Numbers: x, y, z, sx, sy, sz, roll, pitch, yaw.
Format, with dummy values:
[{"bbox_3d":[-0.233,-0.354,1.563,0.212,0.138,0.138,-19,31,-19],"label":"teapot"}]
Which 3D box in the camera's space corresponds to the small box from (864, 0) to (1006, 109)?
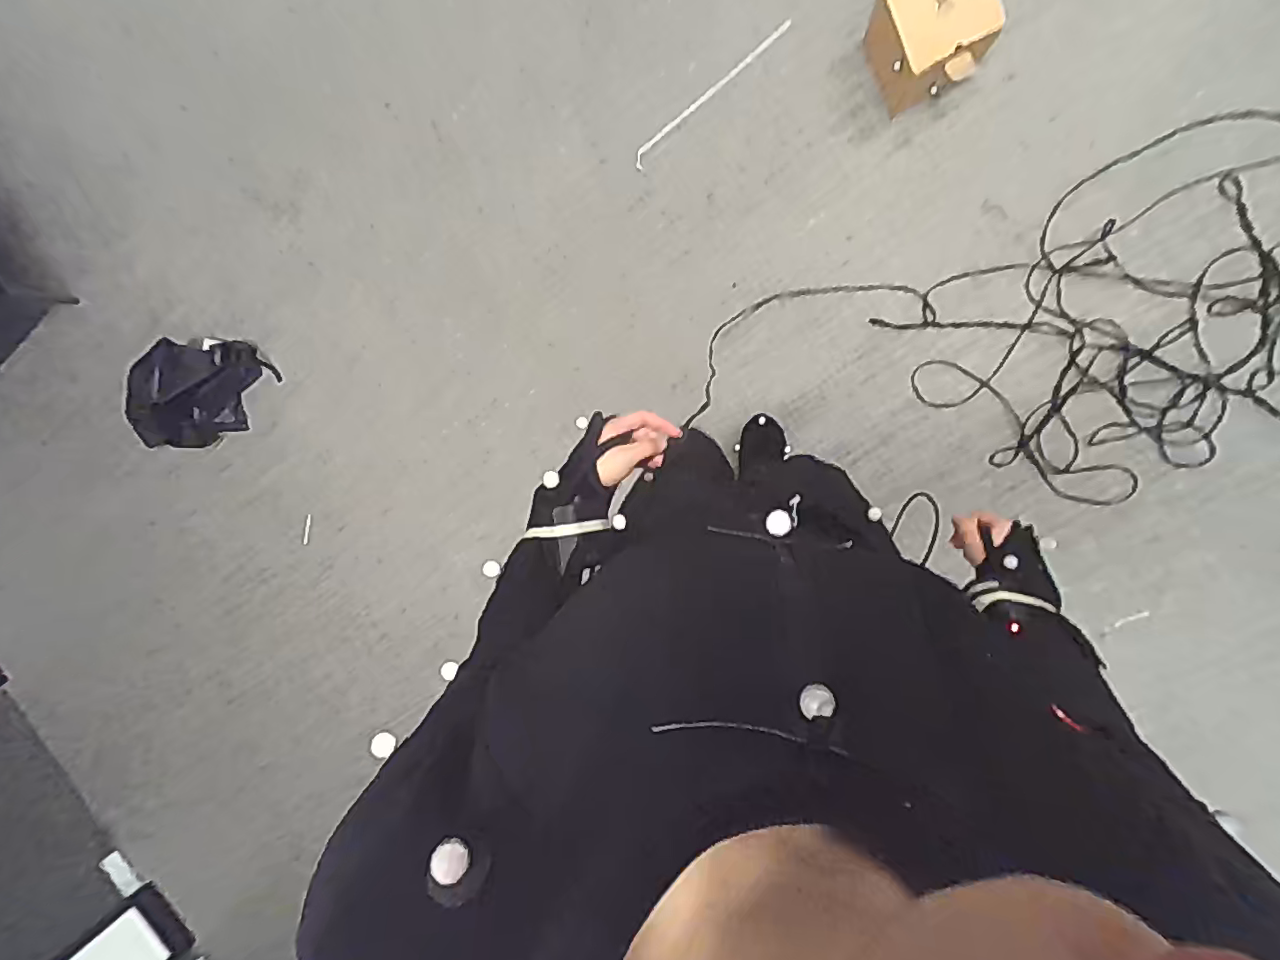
[{"bbox_3d":[0.556,-0.876,1.044,0.168,0.176,0.179,-23,96,14],"label":"small box"}]
